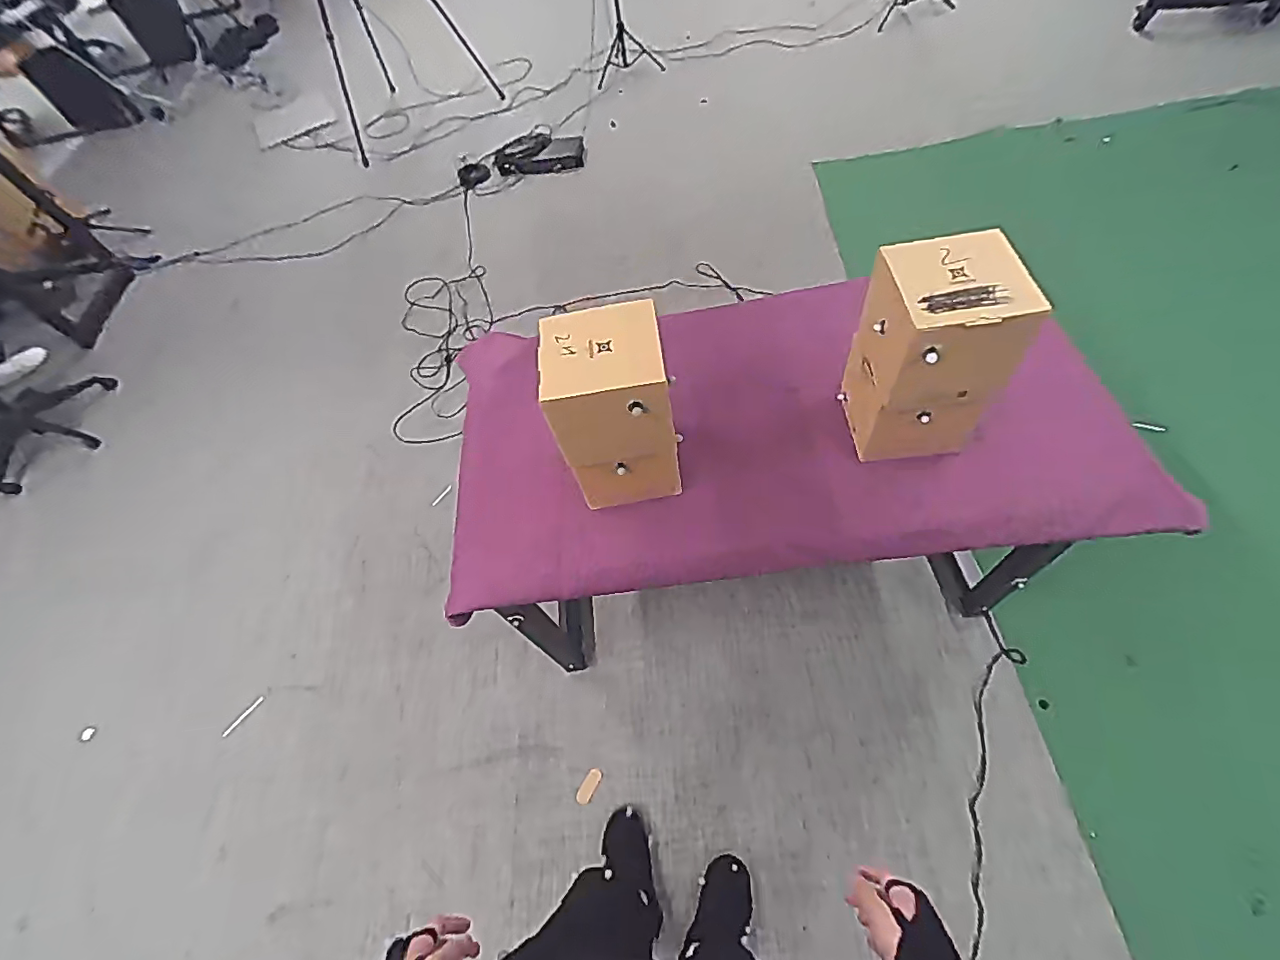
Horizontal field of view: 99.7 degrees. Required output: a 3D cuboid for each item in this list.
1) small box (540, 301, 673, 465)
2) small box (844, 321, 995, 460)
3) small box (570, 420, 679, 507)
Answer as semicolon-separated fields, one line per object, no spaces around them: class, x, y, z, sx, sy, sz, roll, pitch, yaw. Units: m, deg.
small box;-0.045;-0.141;0.825;0.179;0.176;0.168;-9;58;4
small box;0.465;-0.148;0.939;0.179;0.176;0.168;-6;58;5
small box;-0.026;-0.069;0.973;0.179;0.176;0.168;-10;58;4
